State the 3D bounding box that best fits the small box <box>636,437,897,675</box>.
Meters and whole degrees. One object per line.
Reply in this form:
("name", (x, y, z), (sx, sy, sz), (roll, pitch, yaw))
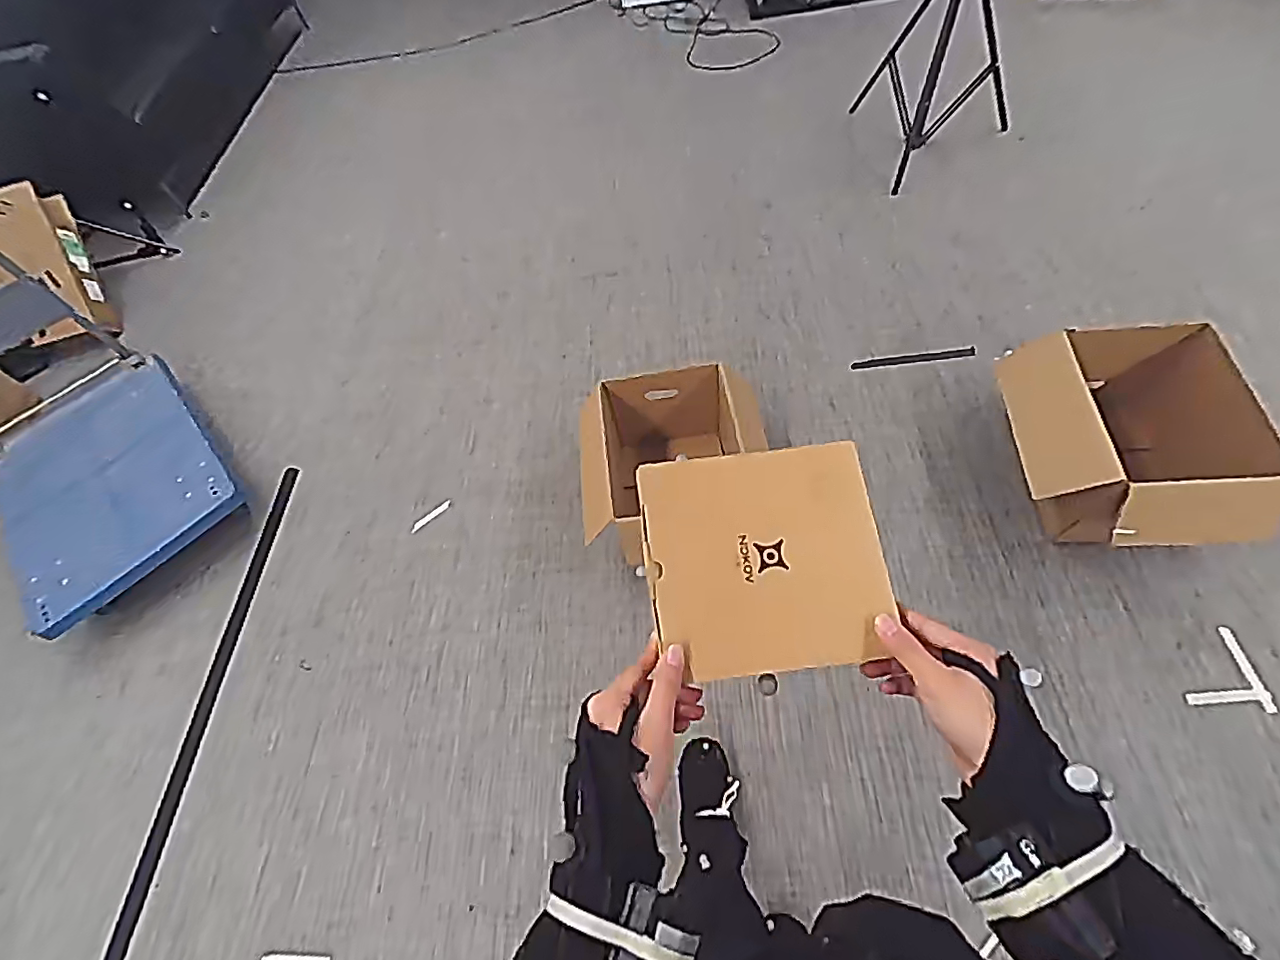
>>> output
("small box", (0.093, 0.075, 0.485), (0.179, 0.176, 0.168), (-7, 73, 1))
